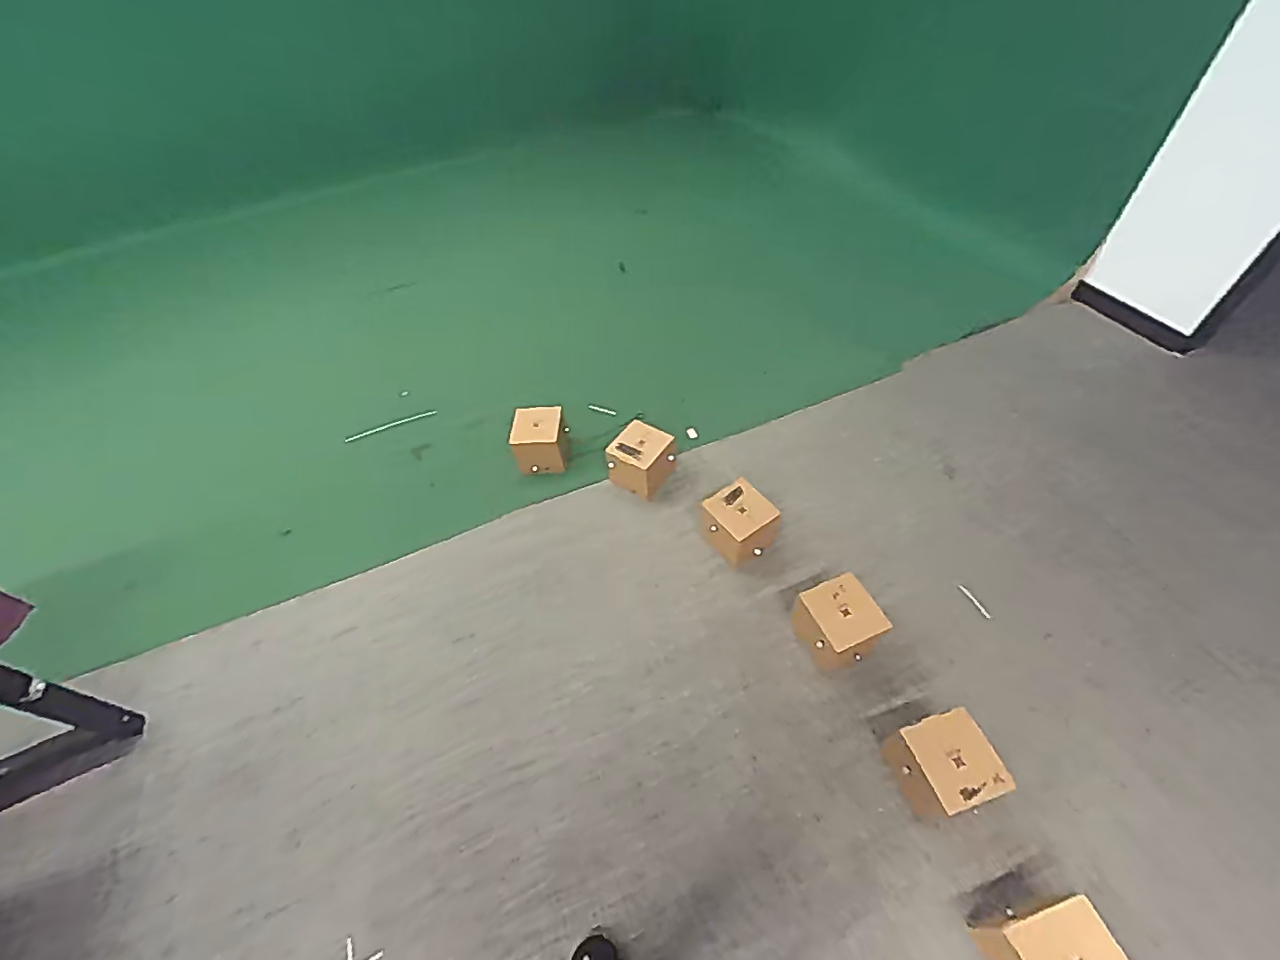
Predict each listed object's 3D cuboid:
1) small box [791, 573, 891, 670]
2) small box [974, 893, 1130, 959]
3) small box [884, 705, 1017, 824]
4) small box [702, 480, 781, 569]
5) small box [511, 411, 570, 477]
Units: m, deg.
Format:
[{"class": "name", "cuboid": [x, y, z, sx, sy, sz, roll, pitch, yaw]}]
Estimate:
[{"class": "small box", "cuboid": [0.526, 0.384, 1.439, 0.168, 0.176, 0.179, -20, 52, -11]}, {"class": "small box", "cuboid": [0.771, 0.893, 1.001, 0.179, 0.176, 0.168, -17, 52, -7]}, {"class": "small box", "cuboid": [0.681, 0.641, 1.214, 0.168, 0.176, 0.179, -16, 51, -7]}, {"class": "small box", "cuboid": [0.303, 0.140, 1.661, 0.168, 0.176, 0.179, -31, 55, -18]}, {"class": "small box", "cuboid": [-0.354, -0.129, 1.952, 0.168, 0.176, 0.179, -2, 51, 4]}]
